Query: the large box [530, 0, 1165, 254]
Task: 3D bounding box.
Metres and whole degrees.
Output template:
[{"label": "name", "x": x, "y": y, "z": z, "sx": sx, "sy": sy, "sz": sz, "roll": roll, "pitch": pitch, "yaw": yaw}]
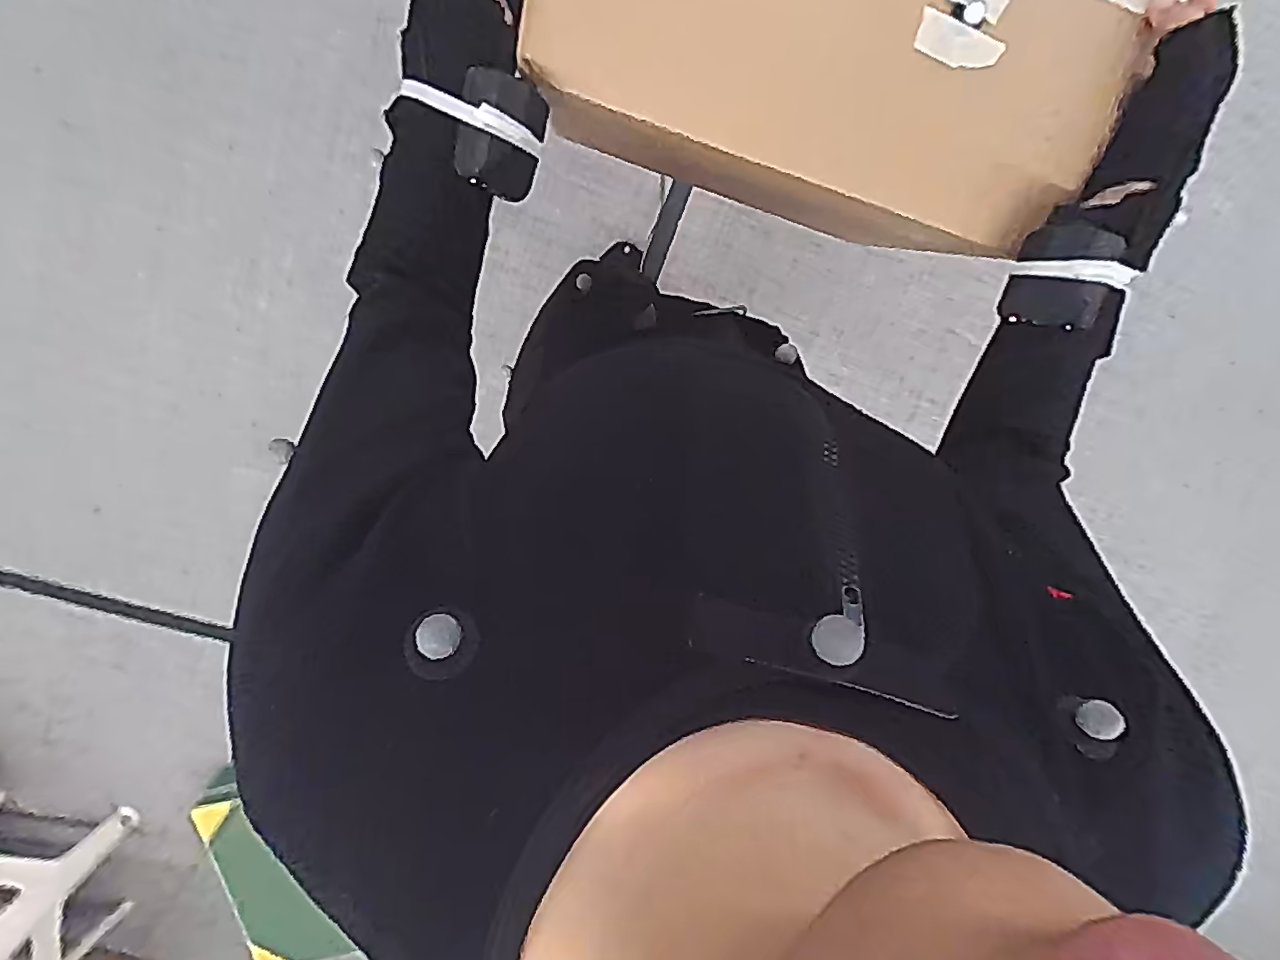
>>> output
[{"label": "large box", "x": 0.143, "y": -0.417, "z": 0.464, "sx": 0.408, "sy": 0.320, "sz": 0.320, "roll": 13, "pitch": 115, "yaw": -11}]
